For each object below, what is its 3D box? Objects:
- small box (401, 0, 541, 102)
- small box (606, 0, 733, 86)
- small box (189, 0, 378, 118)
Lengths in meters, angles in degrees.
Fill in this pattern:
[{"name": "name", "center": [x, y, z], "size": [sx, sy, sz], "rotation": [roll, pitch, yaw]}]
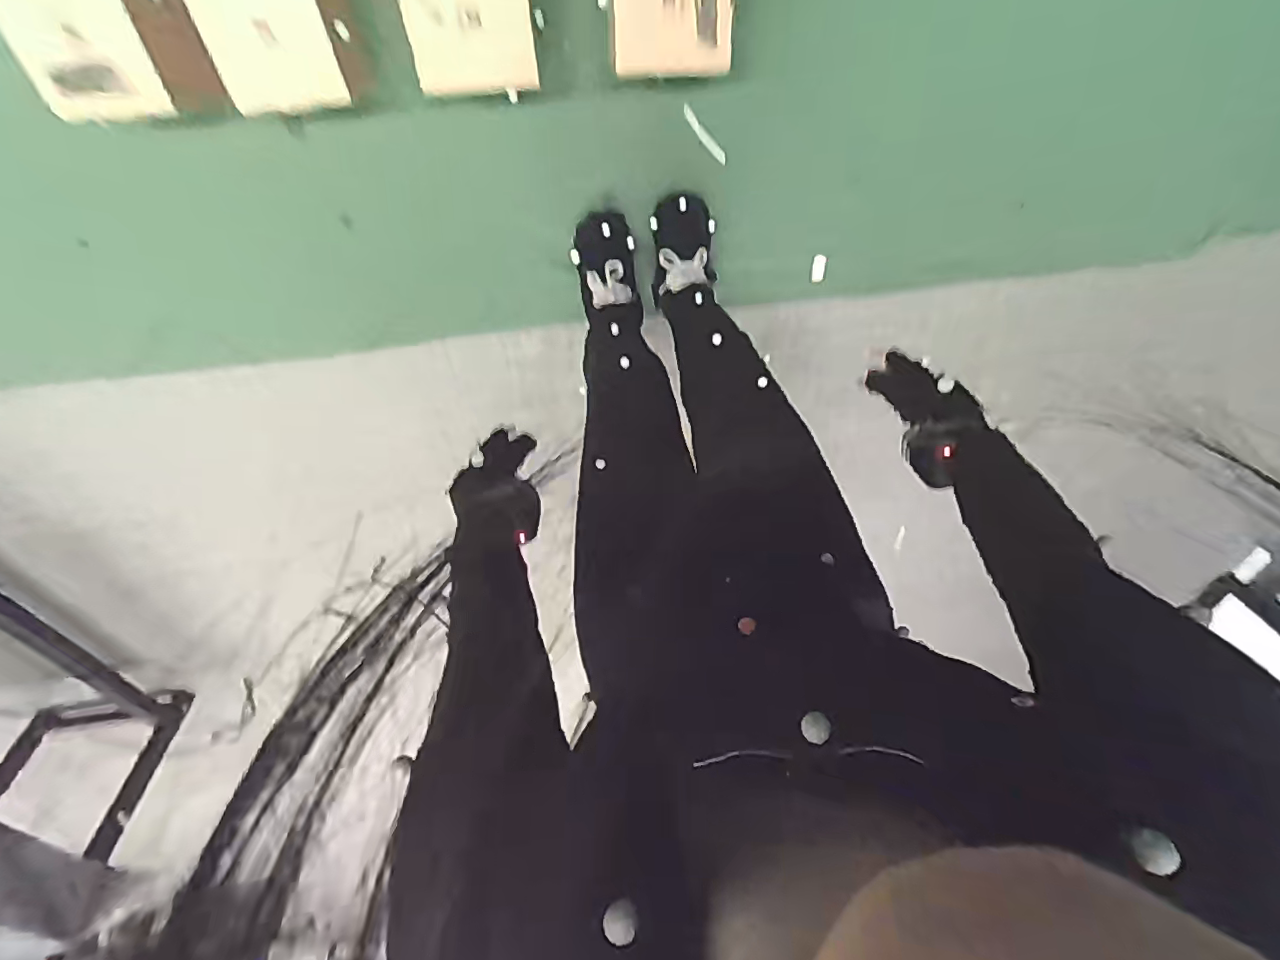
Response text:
[{"name": "small box", "center": [-0.248, -0.686, 0.821], "size": [0.179, 0.176, 0.168], "rotation": [-5, 130, -4]}, {"name": "small box", "center": [0.039, -0.718, 0.835], "size": [0.179, 0.176, 0.168], "rotation": [-3, 130, -4]}, {"name": "small box", "center": [-0.522, -0.660, 0.807], "size": [0.168, 0.176, 0.179], "rotation": [-7, 131, -2]}]
